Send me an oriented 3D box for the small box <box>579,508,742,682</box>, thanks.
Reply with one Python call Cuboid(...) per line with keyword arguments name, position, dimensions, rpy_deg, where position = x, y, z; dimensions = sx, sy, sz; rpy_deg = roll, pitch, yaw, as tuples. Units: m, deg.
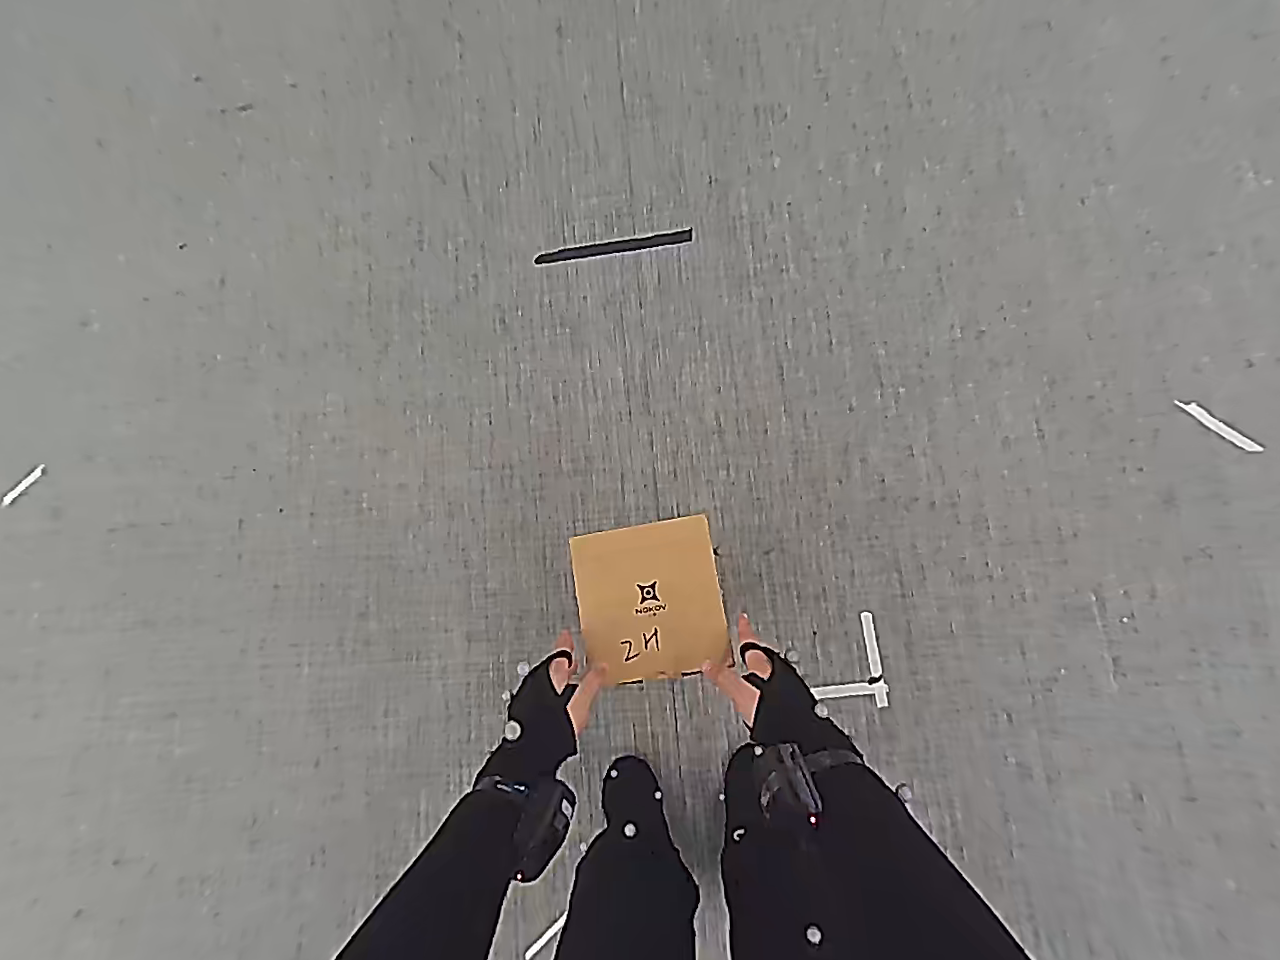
Cuboid(name="small box", position=(0.028, 0.142, 0.691), dimensions=(0.168, 0.176, 0.179), rpy_deg=(-11, 80, 5))
